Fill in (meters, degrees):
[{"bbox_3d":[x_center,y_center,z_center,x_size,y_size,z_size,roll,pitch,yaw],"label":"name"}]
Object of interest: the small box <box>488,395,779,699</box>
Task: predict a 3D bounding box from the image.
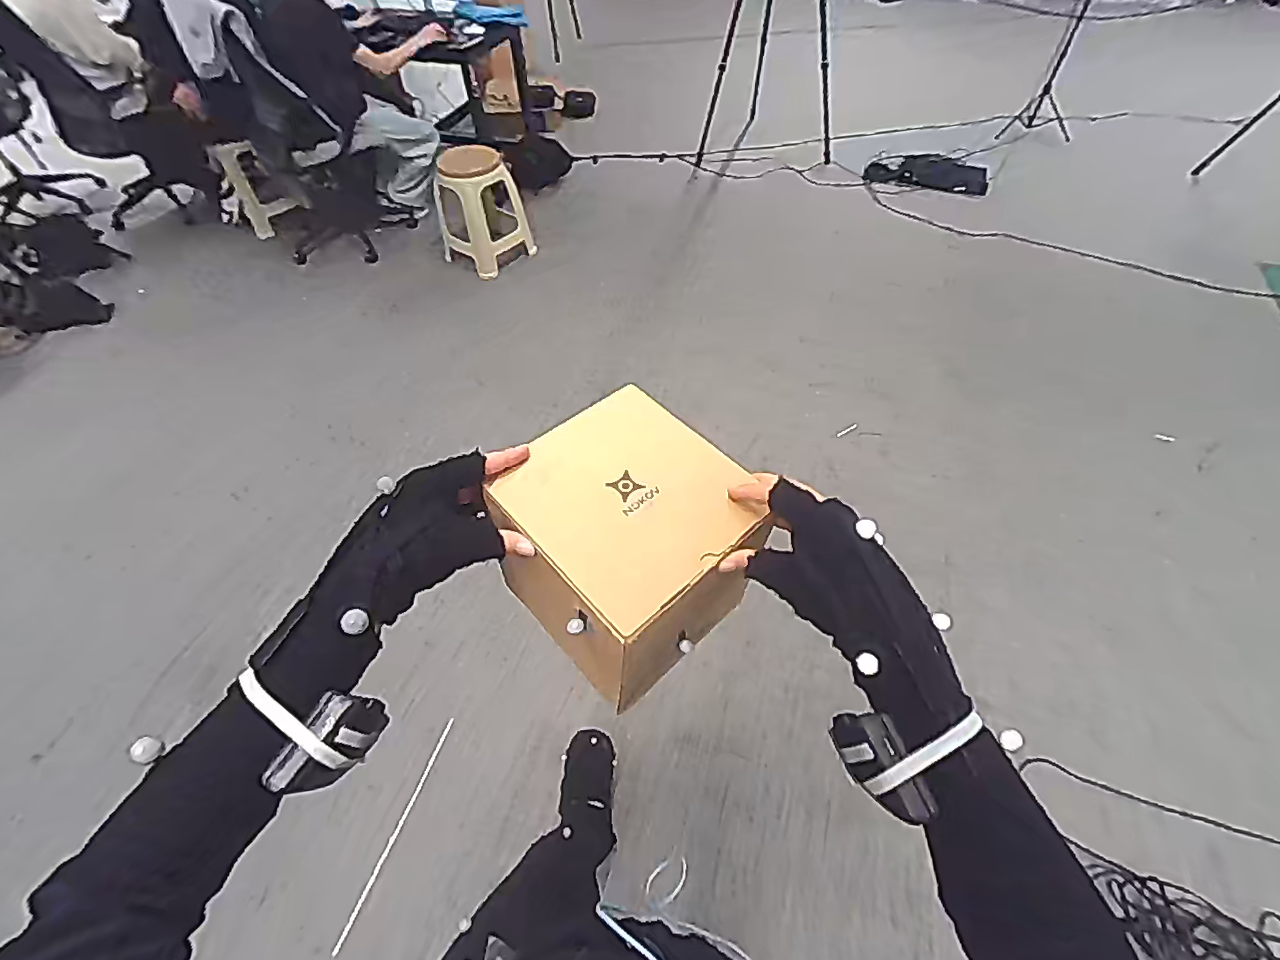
[{"bbox_3d":[-0.013,0.062,0.487,0.168,0.176,0.179,-33,63,-28],"label":"small box"}]
